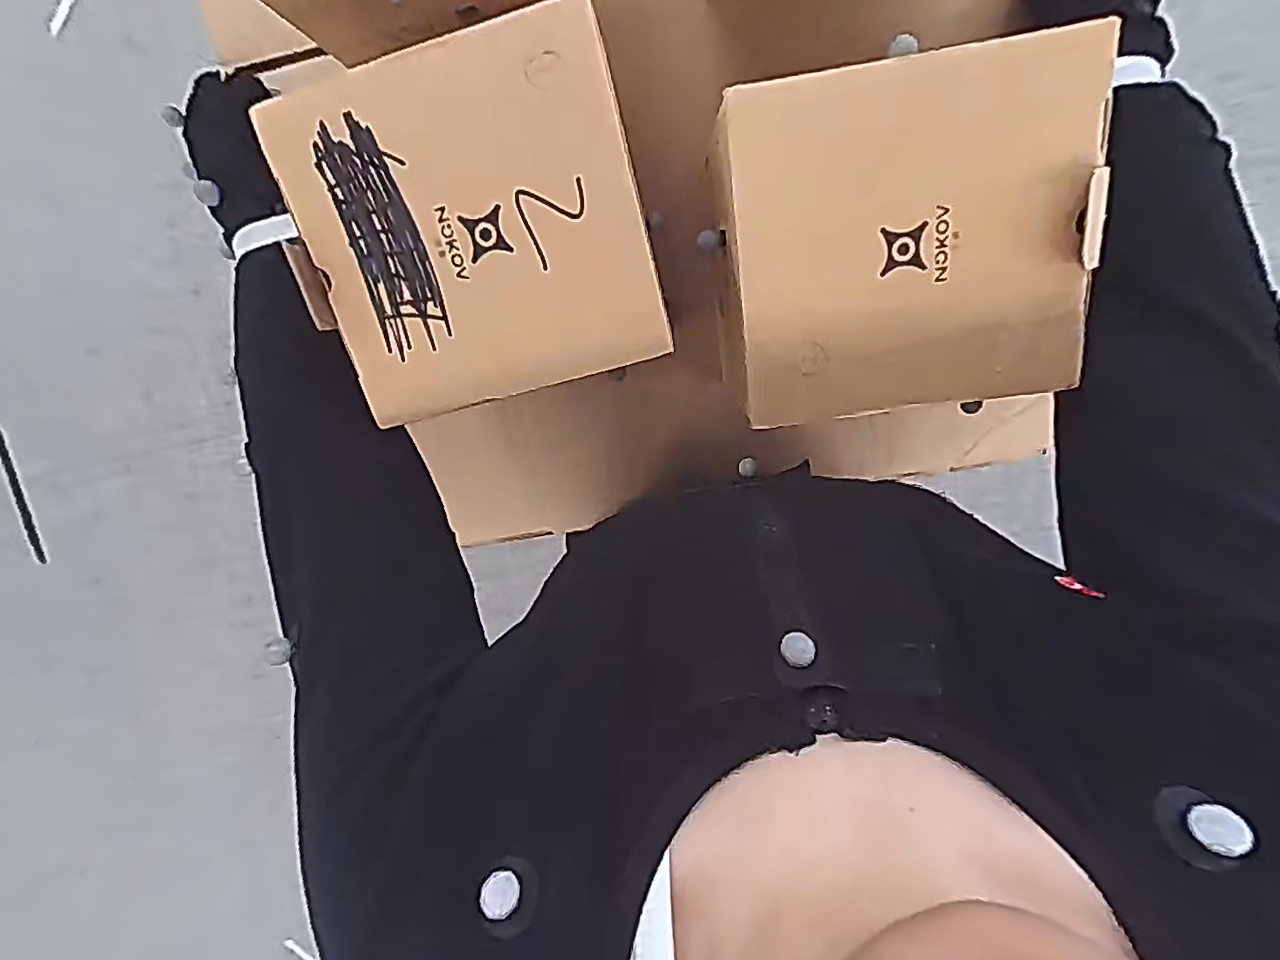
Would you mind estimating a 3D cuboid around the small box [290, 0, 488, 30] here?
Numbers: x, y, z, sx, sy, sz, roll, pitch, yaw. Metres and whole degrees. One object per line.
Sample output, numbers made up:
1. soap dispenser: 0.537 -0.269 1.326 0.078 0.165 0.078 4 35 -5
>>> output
1. small box: -0.162 -0.382 0.285 0.168 0.176 0.179 -10 107 6
